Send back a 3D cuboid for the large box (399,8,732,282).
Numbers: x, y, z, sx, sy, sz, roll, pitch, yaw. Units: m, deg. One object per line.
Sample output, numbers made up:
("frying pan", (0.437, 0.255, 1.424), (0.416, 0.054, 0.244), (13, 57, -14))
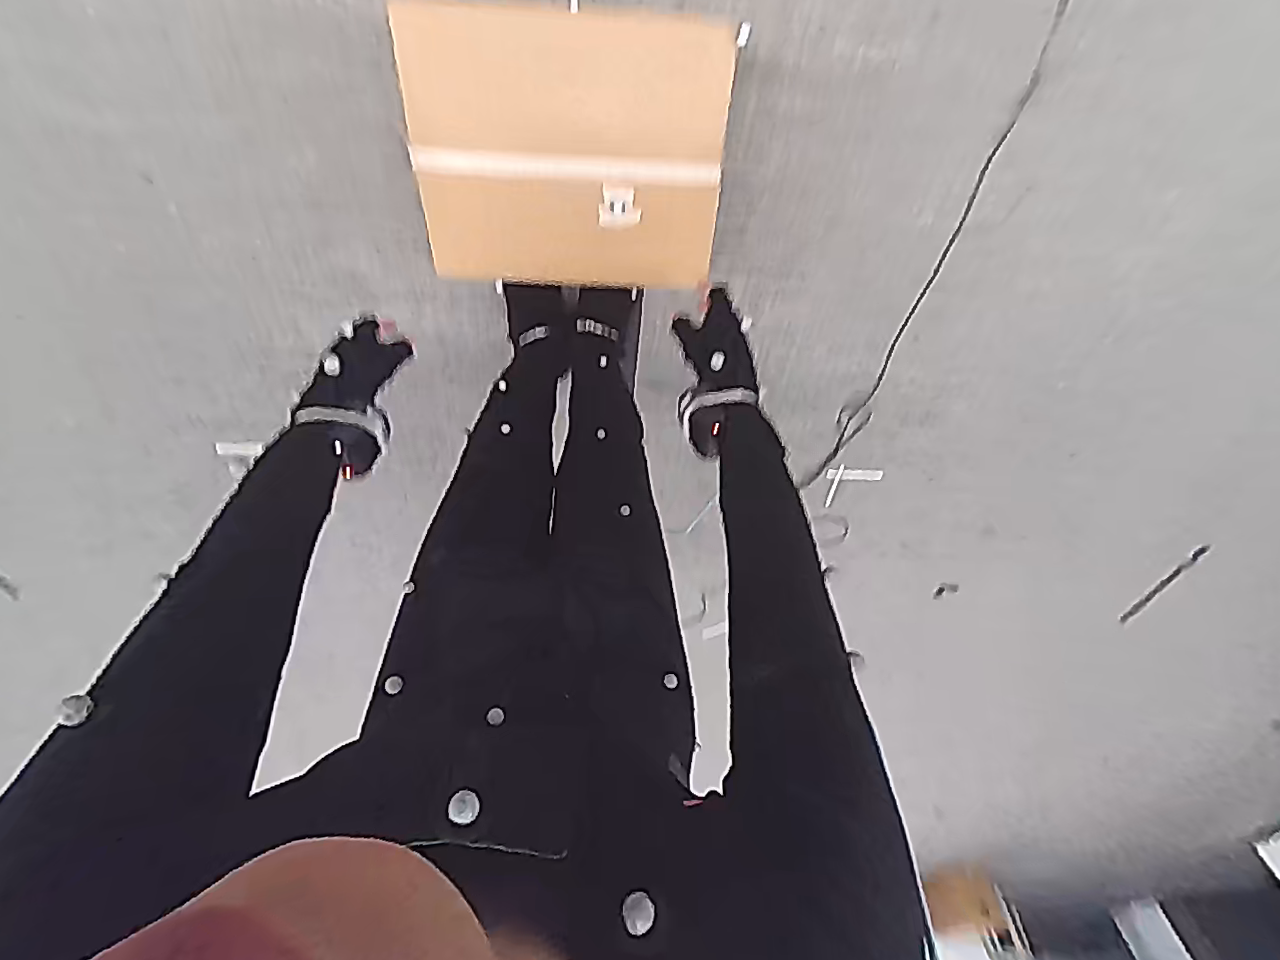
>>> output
("large box", (-0.099, -0.518, 0.849), (0.408, 0.320, 0.320), (0, 129, -4))
